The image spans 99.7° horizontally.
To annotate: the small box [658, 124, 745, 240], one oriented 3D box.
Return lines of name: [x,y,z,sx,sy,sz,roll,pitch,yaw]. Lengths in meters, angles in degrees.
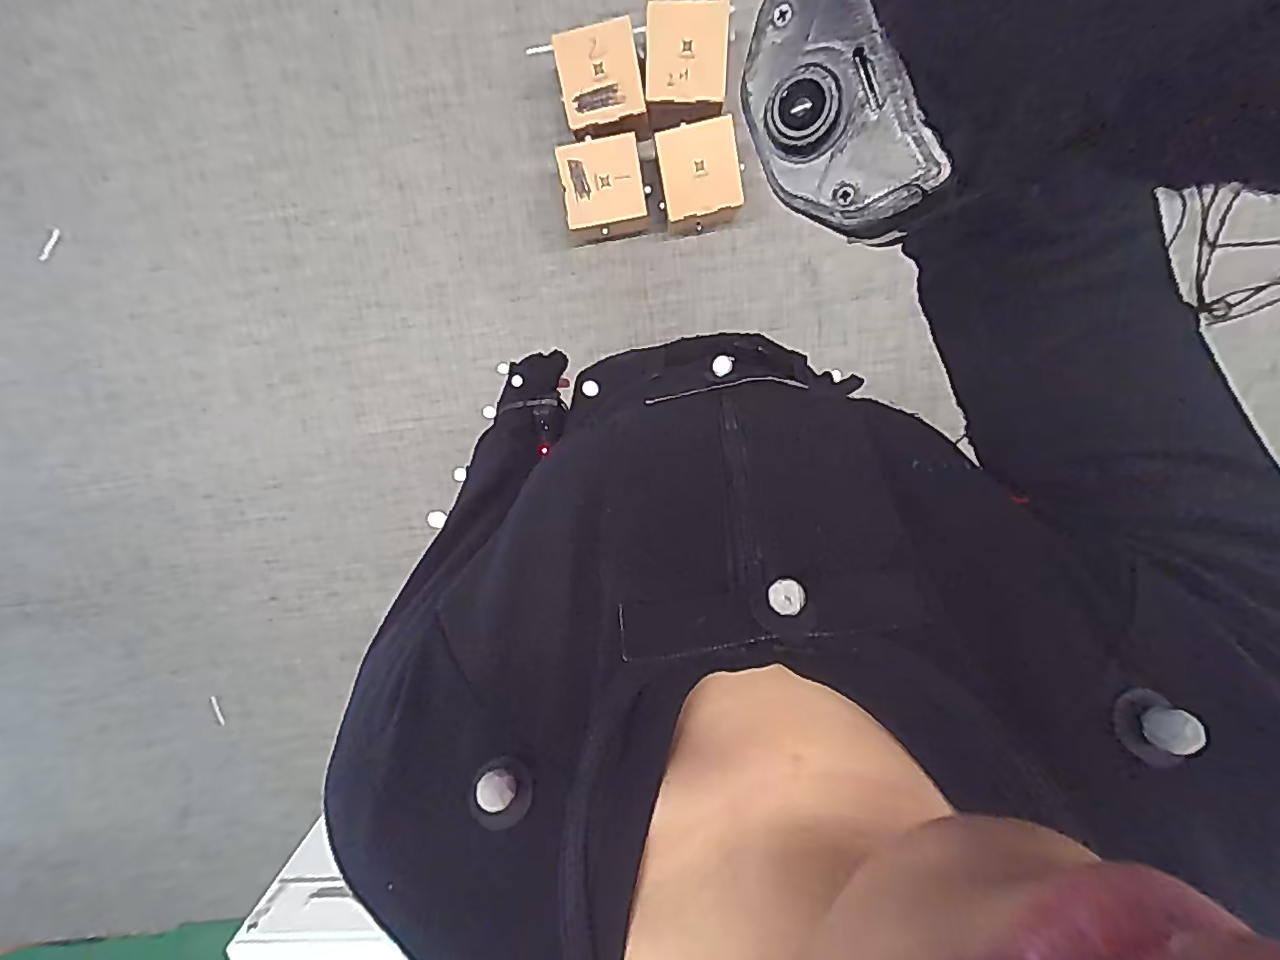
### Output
small box: [0.135,-0.665,1.226,0.168,0.176,0.179,-11,104,6]
